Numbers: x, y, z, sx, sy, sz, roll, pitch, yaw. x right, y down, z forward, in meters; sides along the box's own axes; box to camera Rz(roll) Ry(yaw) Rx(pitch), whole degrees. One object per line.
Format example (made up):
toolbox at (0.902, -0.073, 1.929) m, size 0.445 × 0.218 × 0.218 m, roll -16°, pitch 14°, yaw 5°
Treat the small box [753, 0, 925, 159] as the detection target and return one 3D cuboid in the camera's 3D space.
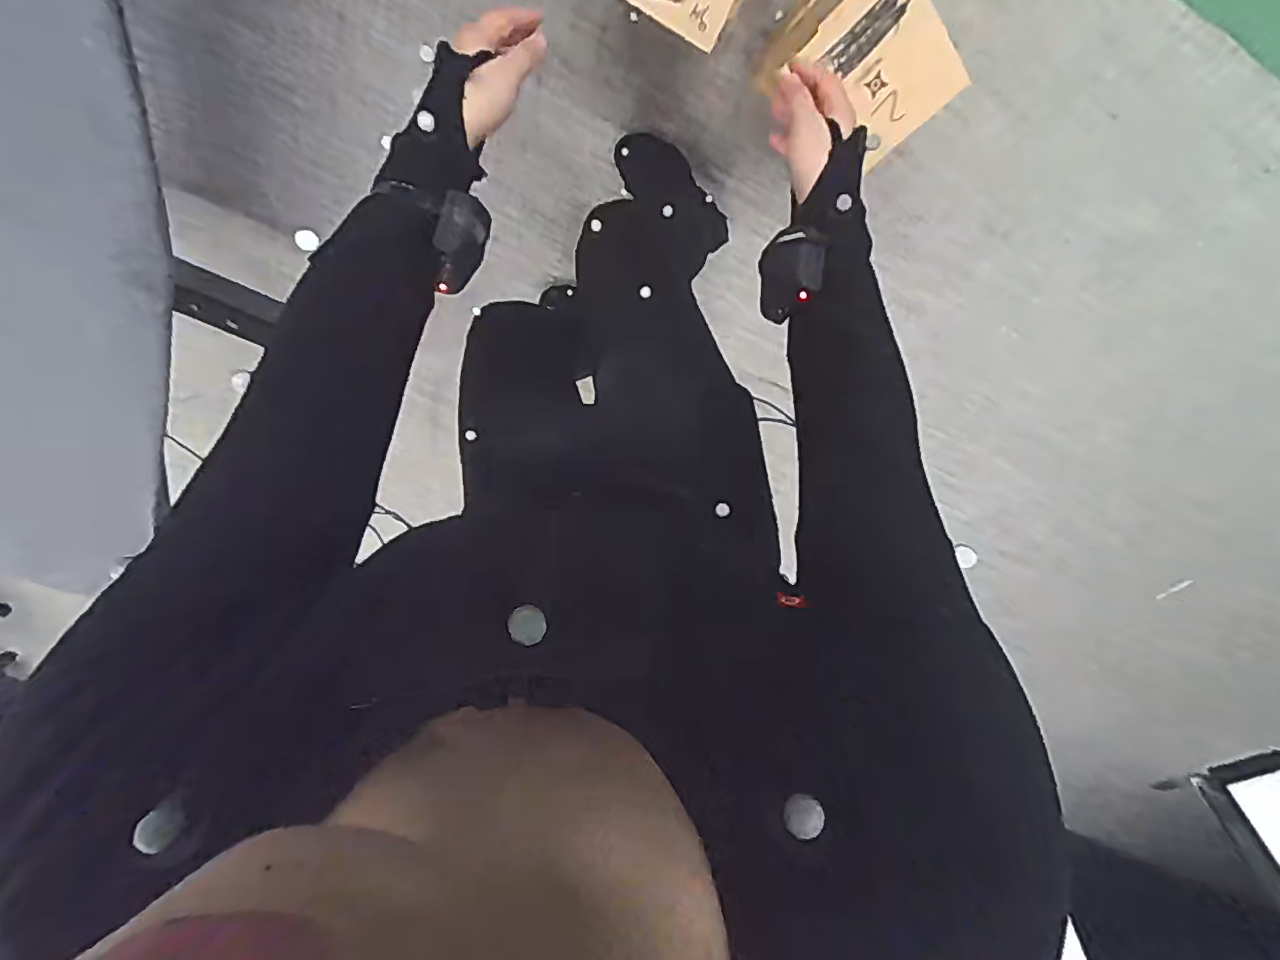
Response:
small box at (0.297, -0.649, 0.839) m, size 0.179 × 0.176 × 0.168 m, roll 30°, pitch 129°, yaw -21°
